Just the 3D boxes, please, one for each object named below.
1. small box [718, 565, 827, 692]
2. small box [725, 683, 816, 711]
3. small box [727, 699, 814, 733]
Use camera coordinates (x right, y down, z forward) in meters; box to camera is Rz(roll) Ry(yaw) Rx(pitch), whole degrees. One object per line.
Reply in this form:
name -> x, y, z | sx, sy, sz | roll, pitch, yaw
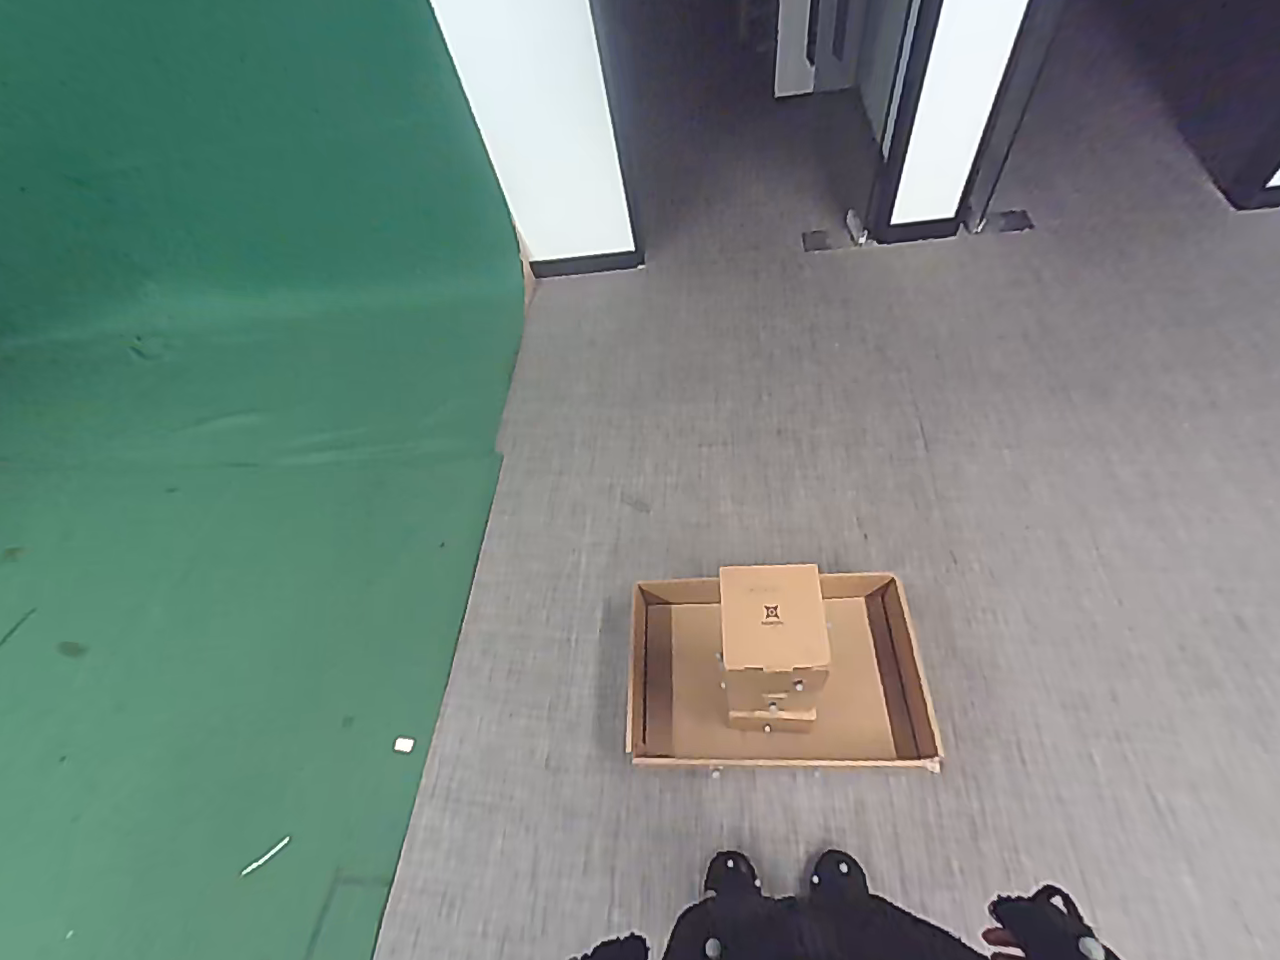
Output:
small box -> 0.225, 0.265, 0.948 | 0.168, 0.176, 0.179 | -3, 55, 8
small box -> 0.255, 0.364, 1.098 | 0.168, 0.176, 0.179 | -6, 55, 9
small box -> 0.288, 0.465, 1.218 | 0.179, 0.176, 0.168 | -2, 55, 12
